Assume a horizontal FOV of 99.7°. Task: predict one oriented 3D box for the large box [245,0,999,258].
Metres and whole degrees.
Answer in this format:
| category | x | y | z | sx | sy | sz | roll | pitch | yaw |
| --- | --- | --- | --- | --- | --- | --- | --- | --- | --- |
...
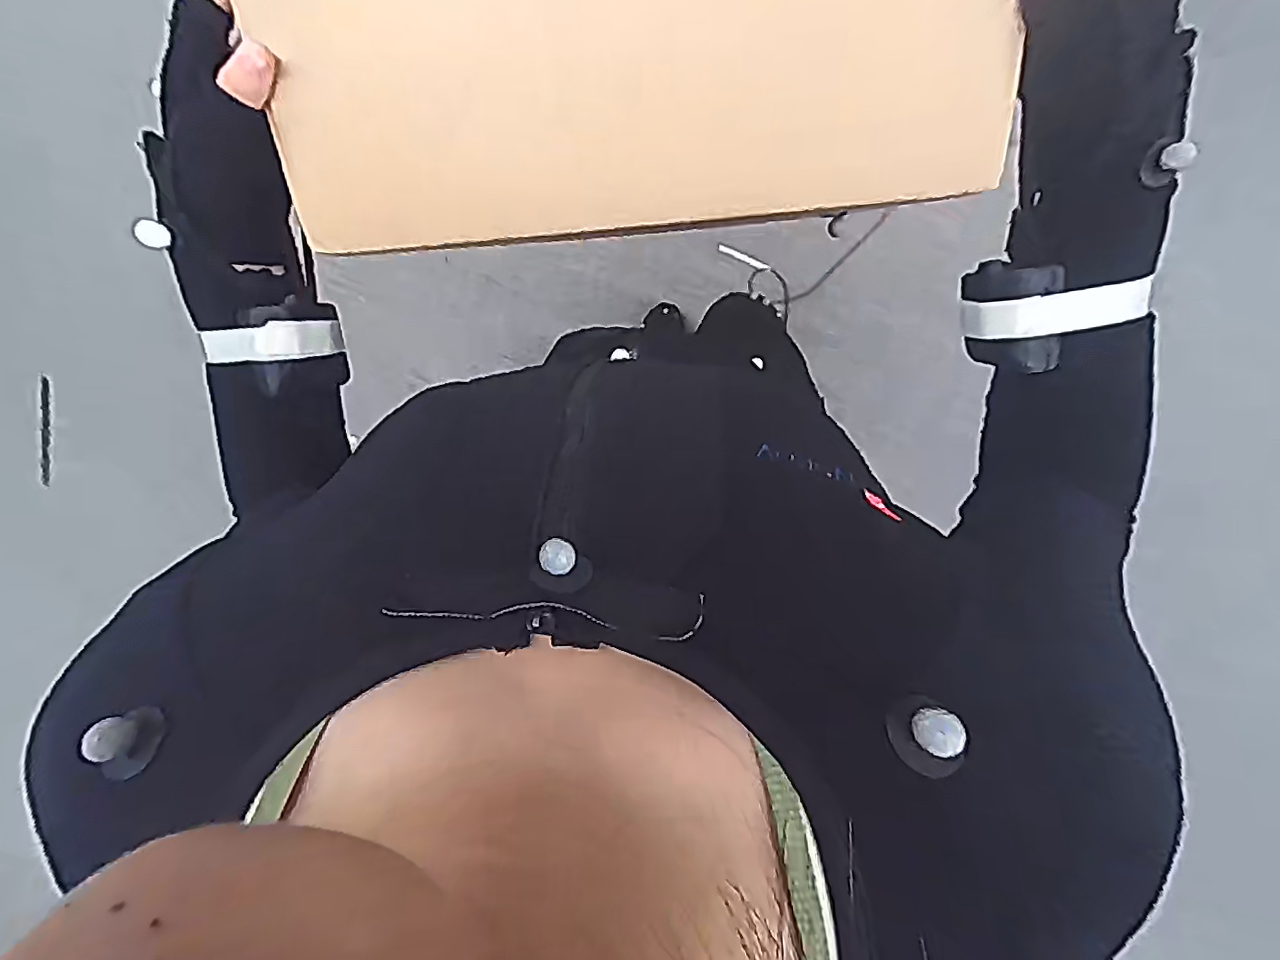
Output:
| category | x | y | z | sx | sy | sz | roll | pitch | yaw |
| --- | --- | --- | --- | --- | --- | --- | --- | --- | --- |
| large box | -0.010 | -0.359 | 0.401 | 0.408 | 0.320 | 0.320 | -4 | 114 | 5 |
